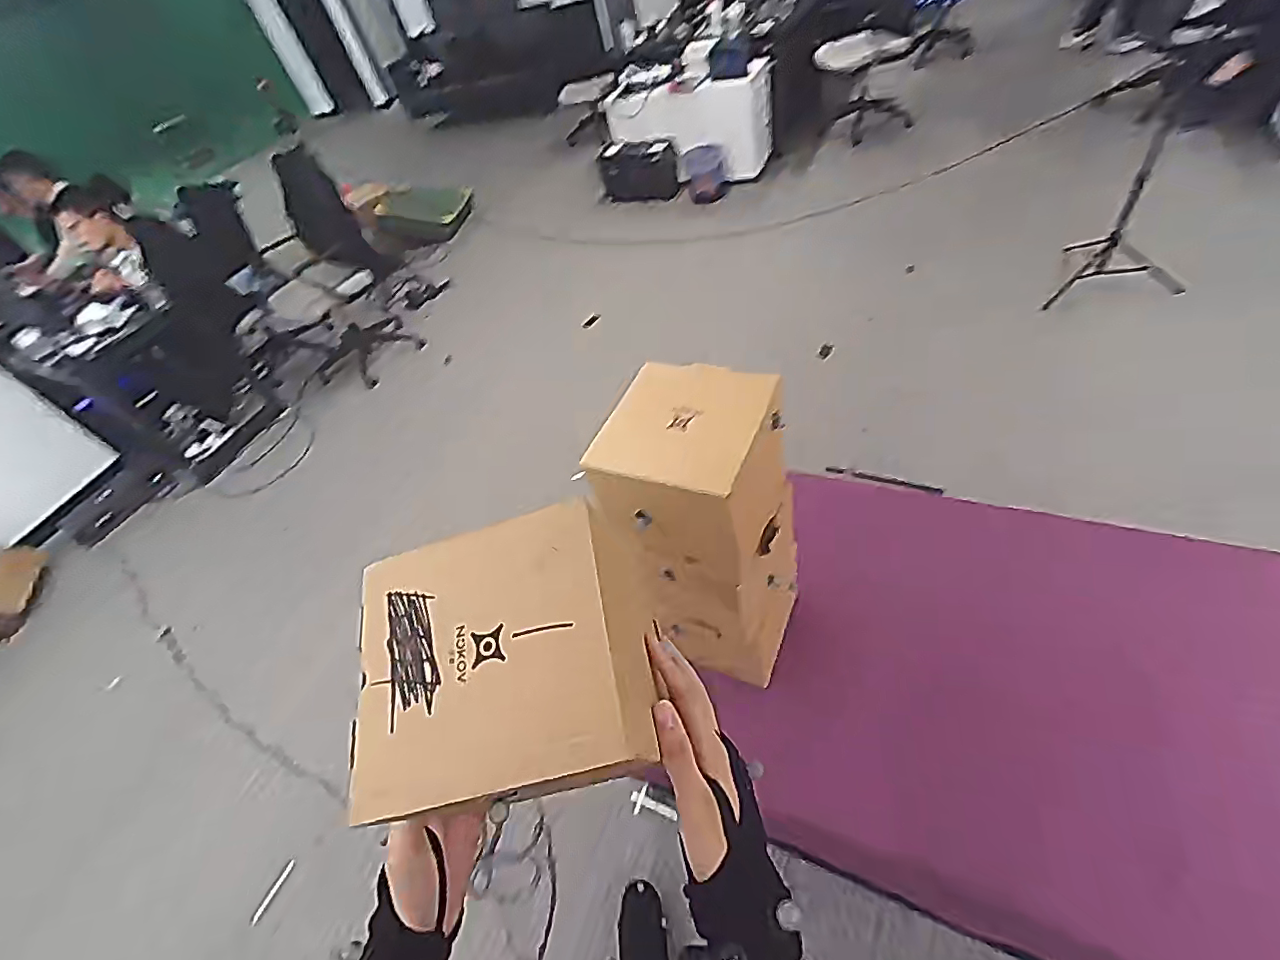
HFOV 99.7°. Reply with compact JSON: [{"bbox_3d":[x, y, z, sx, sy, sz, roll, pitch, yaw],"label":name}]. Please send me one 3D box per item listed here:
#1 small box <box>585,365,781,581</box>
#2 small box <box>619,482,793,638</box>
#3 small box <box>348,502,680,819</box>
[{"bbox_3d":[0.065,-0.009,0.634,0.168,0.176,0.179,13,53,25],"label":"small box"},{"bbox_3d":[0.100,0.093,0.757,0.179,0.176,0.168,19,58,29],"label":"small box"},{"bbox_3d":[-0.083,0.144,0.412,0.179,0.176,0.168,-17,60,6],"label":"small box"}]
